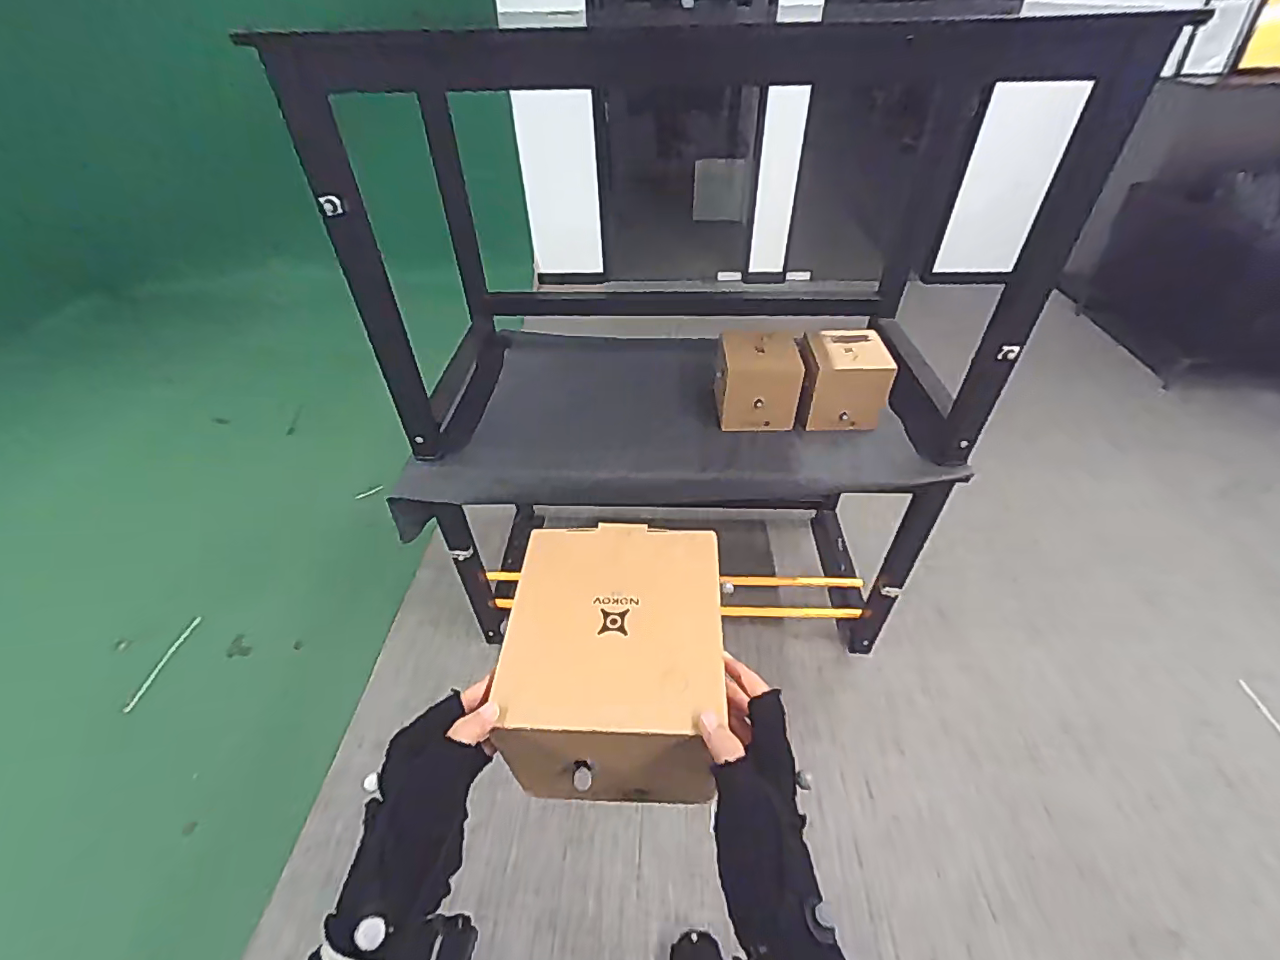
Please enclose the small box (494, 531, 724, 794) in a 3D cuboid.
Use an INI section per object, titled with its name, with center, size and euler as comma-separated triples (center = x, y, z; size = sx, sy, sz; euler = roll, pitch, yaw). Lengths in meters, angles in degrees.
[small box]
center = -0.015, 0.165, 0.486
size = 0.168, 0.176, 0.179
euler = 0, 44, 3
